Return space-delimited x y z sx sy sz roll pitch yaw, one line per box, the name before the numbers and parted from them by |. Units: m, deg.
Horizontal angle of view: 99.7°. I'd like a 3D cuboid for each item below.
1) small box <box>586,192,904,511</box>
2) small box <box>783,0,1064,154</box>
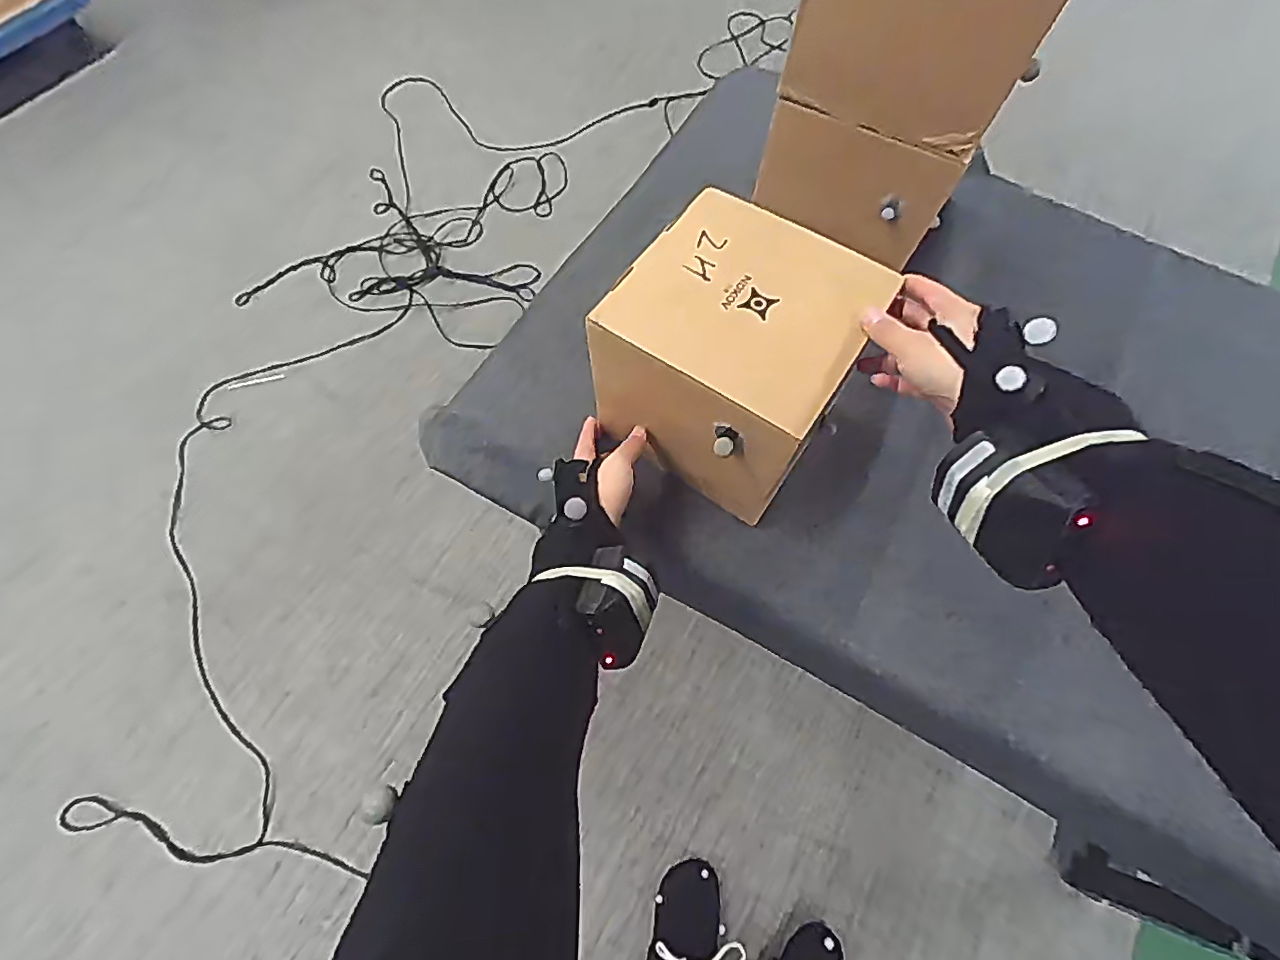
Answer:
small box | 0.077 -0.093 0.460 0.179 0.176 0.168 32 70 14
small box | 0.232 -0.395 0.416 0.179 0.176 0.168 26 72 8
